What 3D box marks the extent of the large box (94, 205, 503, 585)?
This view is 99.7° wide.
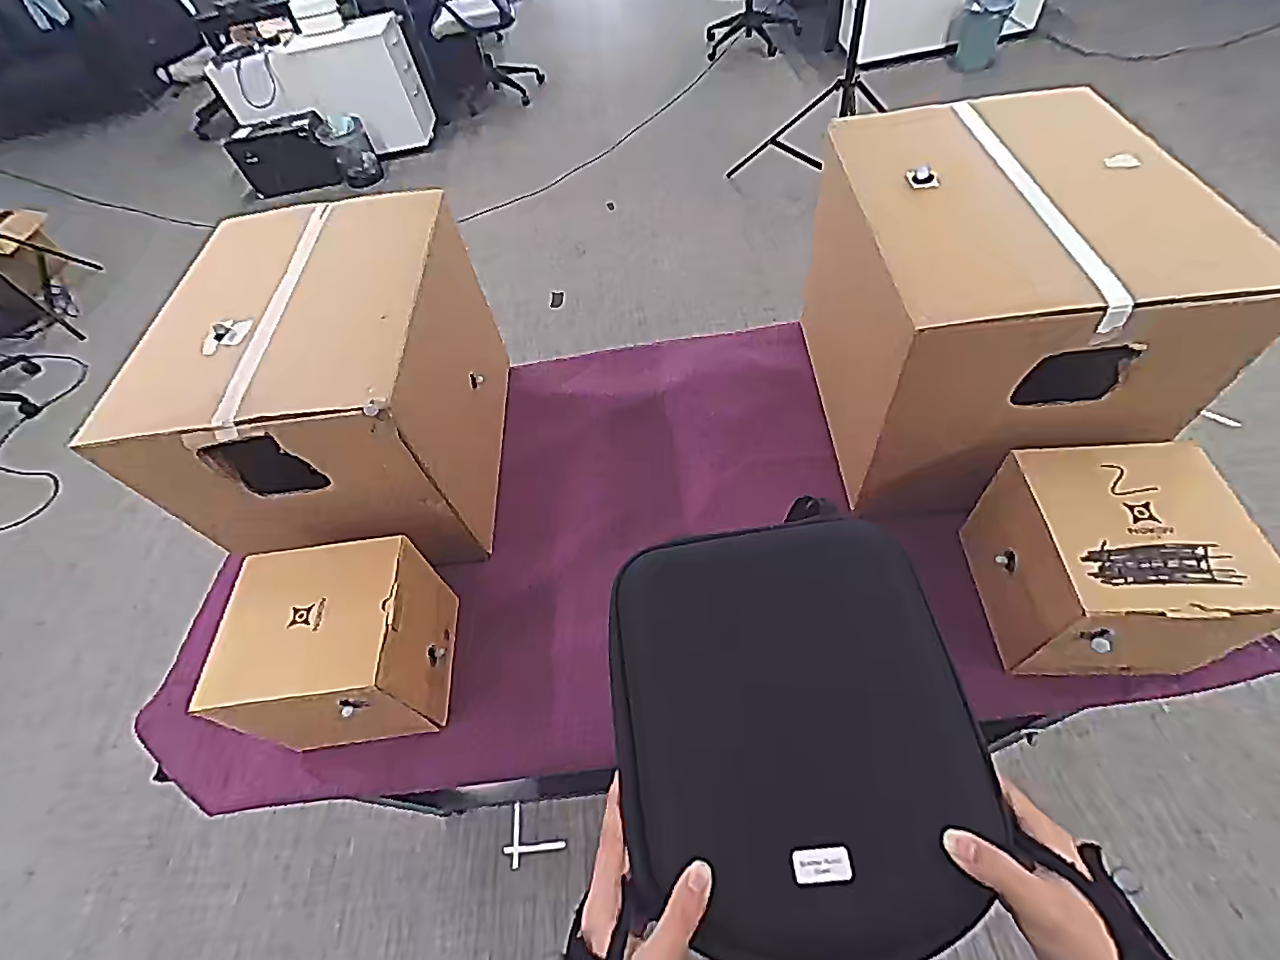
[{"bbox_3d":[-0.390,-0.112,0.754,0.320,0.320,0.408,-8,56,2],"label":"large box"}]
